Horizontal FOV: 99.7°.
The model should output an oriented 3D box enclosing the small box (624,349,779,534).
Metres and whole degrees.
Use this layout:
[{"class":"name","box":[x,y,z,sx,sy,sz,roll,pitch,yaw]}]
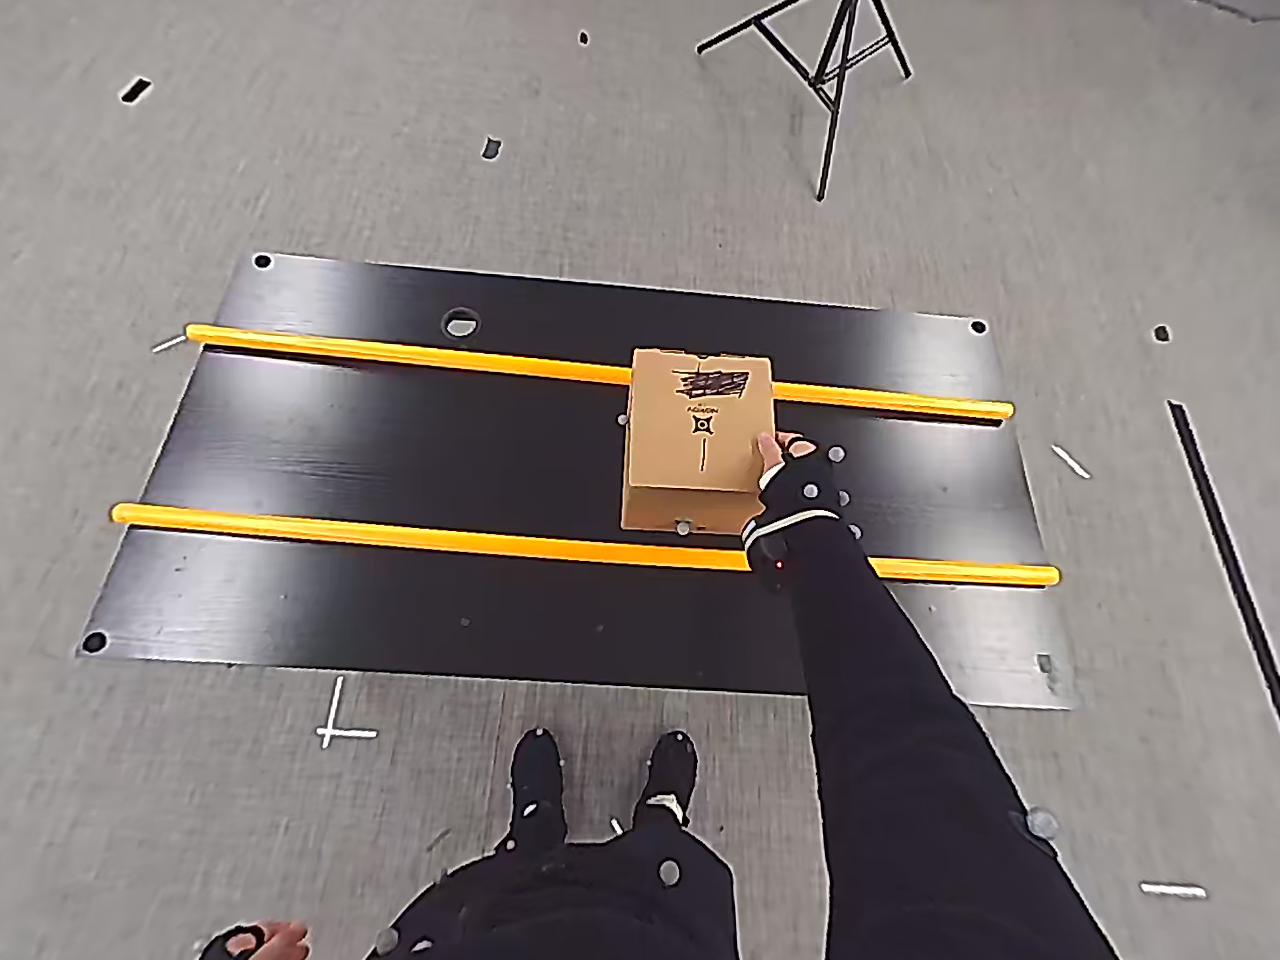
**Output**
[{"class":"small box","box":[0.068,-0.042,0.689,0.168,0.176,0.179,3,69,-3]}]
